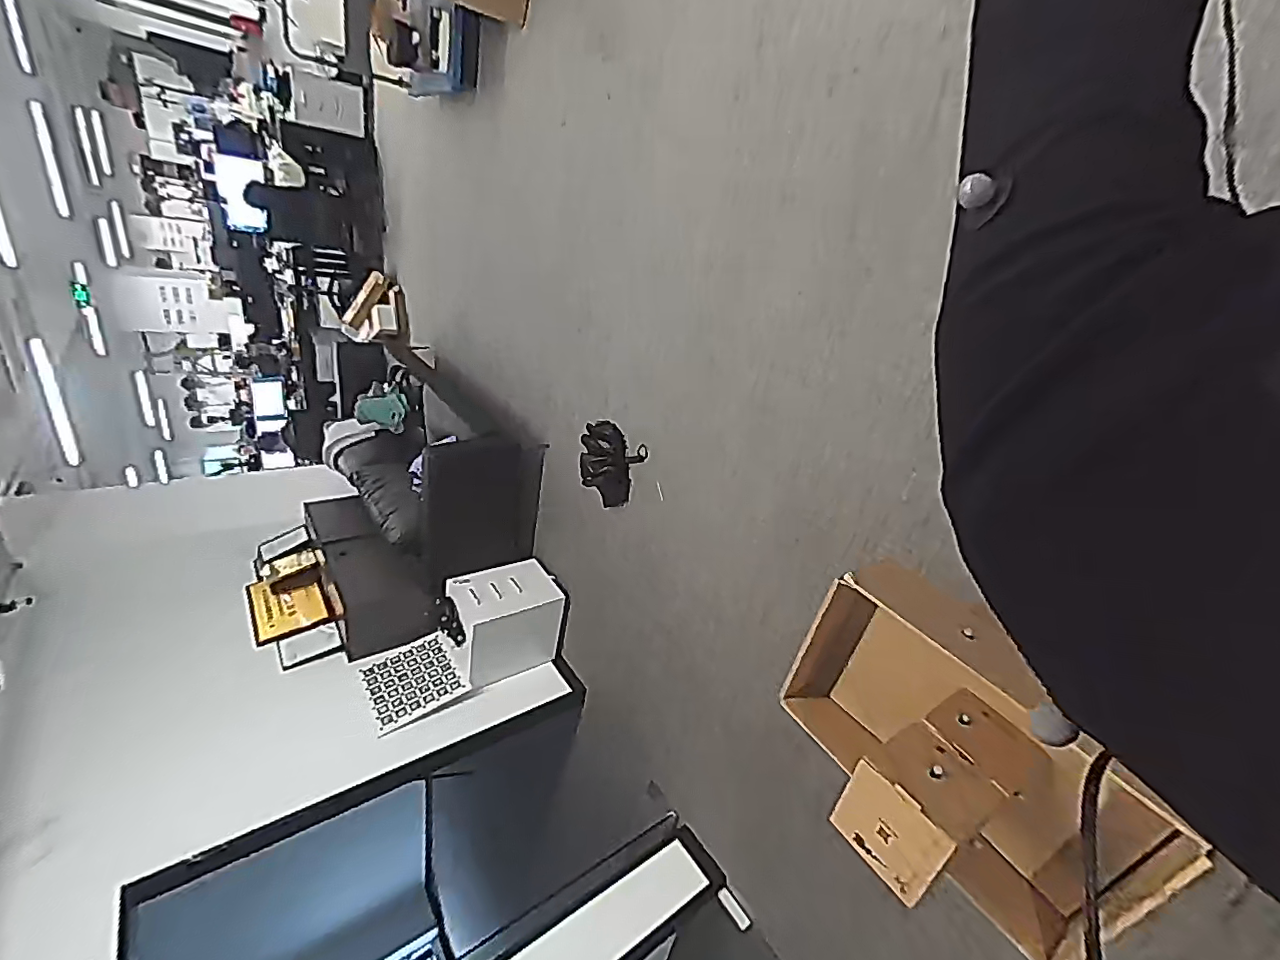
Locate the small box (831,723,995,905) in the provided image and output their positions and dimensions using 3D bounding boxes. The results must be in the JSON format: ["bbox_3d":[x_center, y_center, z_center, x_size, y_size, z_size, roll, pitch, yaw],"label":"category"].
[{"bbox_3d":[0.468,0.557,0.926,0.168,0.176,0.179,39,127,44],"label":"small box"}]

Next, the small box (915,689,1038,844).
[{"bbox_3d":[0.603,0.530,1.015,0.168,0.176,0.179,42,131,43],"label":"small box"}]
